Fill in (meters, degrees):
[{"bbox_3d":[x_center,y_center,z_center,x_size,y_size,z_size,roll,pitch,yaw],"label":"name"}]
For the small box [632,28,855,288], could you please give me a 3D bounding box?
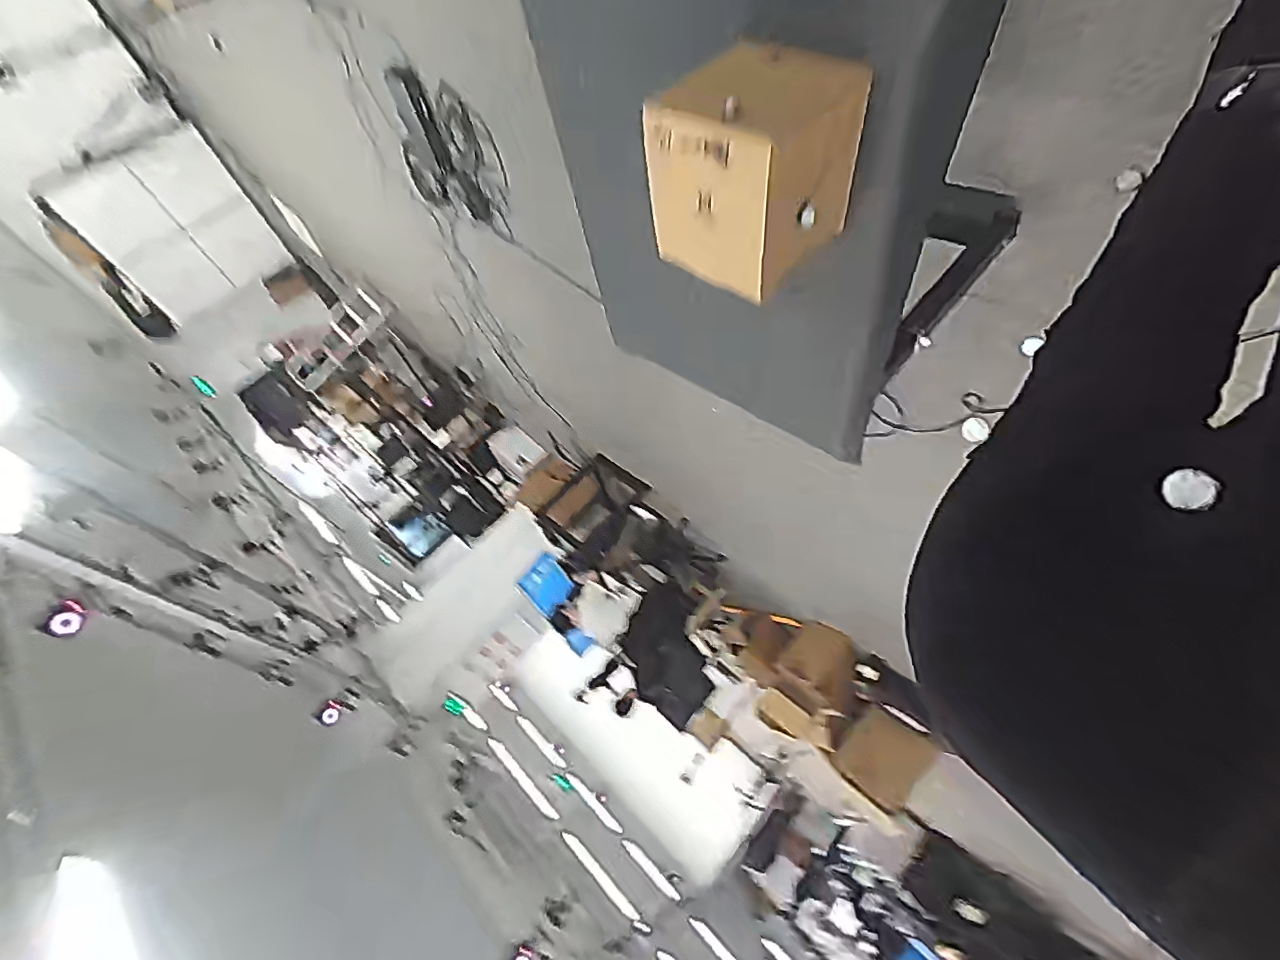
[{"bbox_3d":[0.115,-0.362,0.612,0.168,0.176,0.179,37,159,26],"label":"small box"}]
